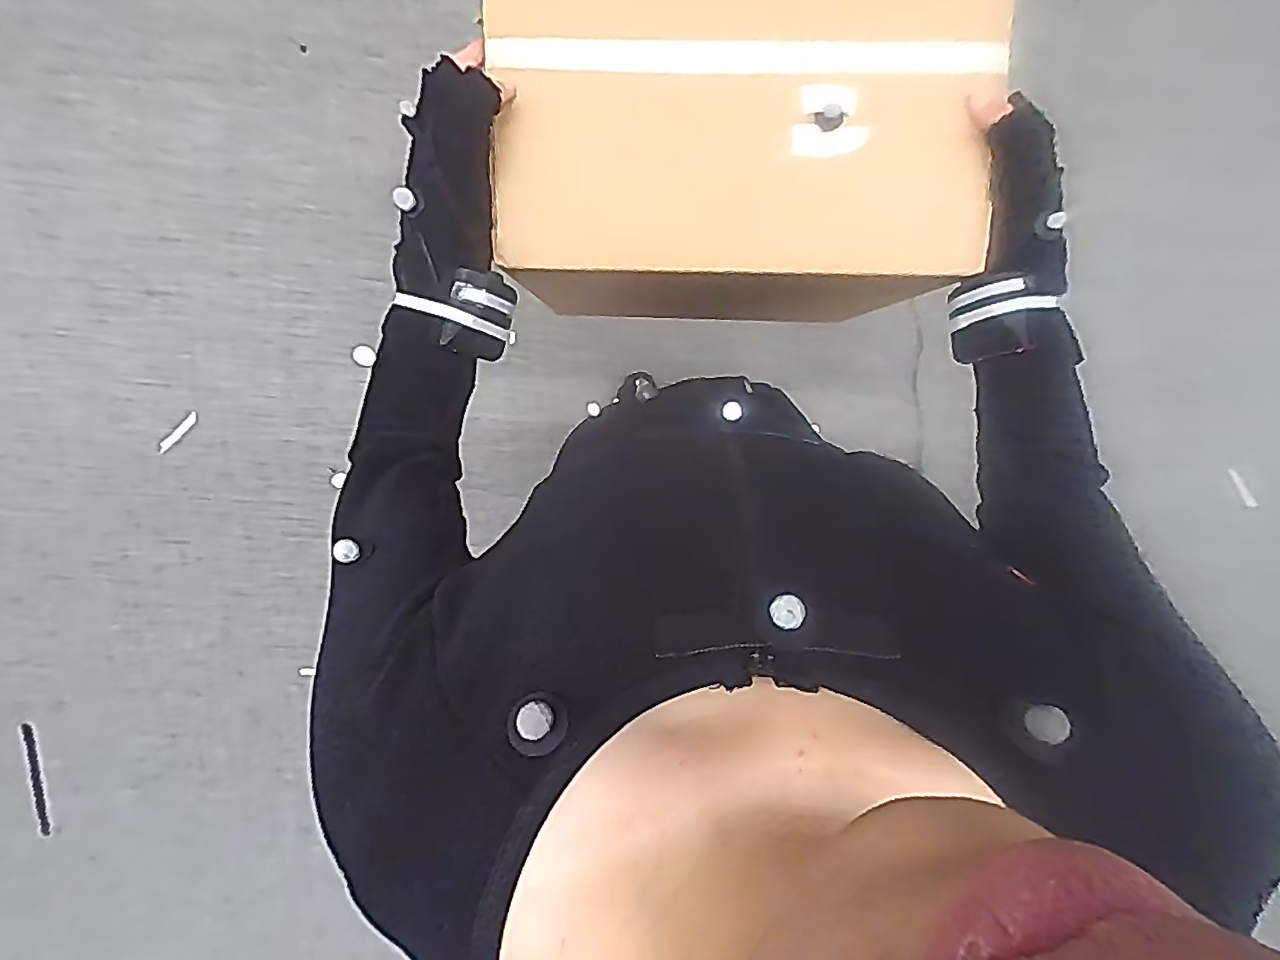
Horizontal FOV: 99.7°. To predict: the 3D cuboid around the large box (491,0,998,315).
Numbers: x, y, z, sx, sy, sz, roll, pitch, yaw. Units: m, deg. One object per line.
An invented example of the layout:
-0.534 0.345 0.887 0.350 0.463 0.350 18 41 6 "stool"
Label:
0.079 -0.358 0.577 0.408 0.320 0.320 1 100 0 "large box"
